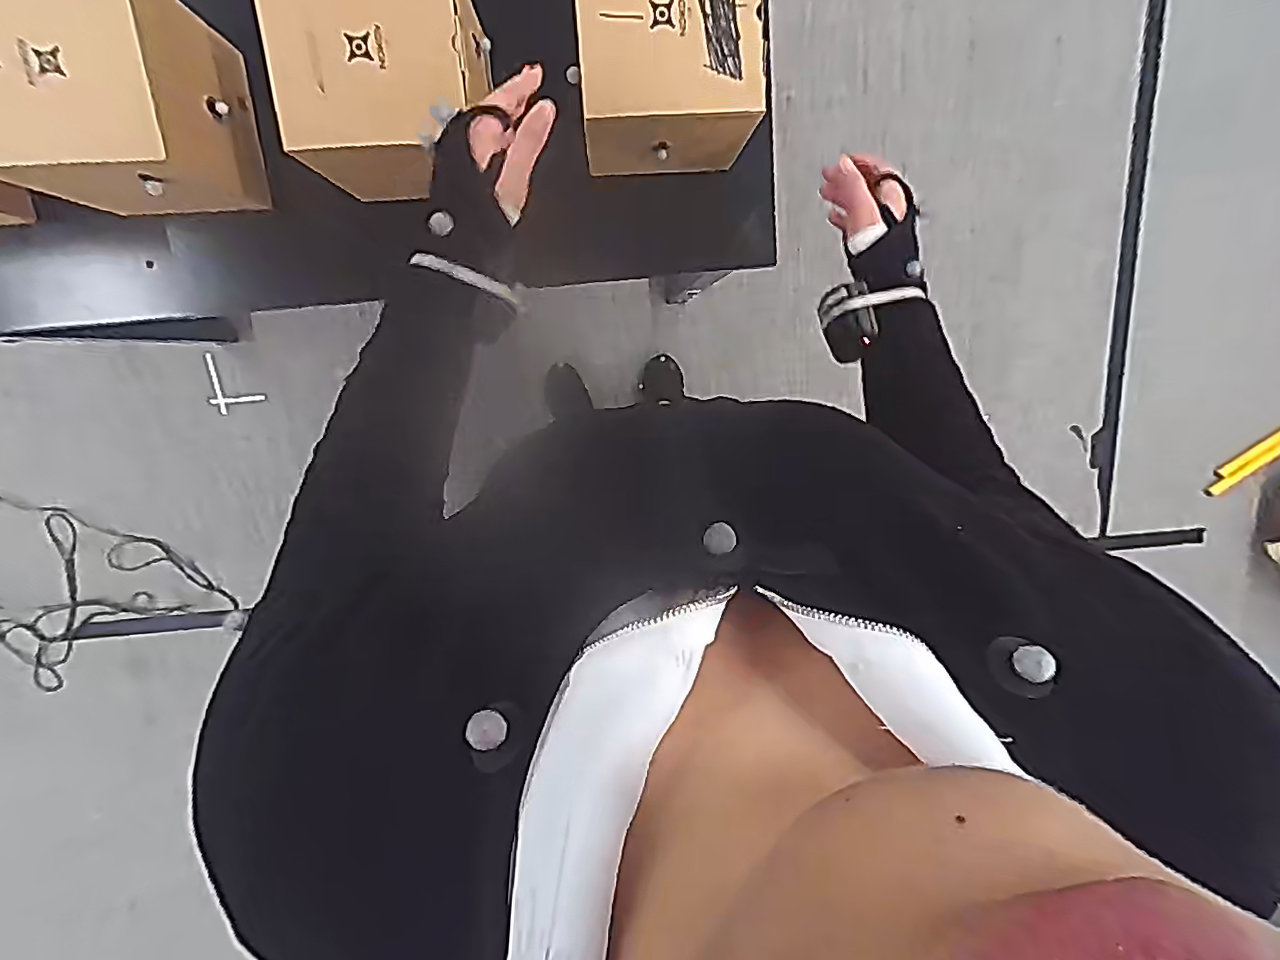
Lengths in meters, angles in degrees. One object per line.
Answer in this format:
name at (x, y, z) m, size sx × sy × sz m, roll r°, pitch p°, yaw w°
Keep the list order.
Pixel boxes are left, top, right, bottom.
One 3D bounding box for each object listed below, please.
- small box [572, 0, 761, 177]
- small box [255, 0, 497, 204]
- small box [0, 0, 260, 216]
small box at (0.021, -0.440, 0.576) m, size 0.179 × 0.176 × 0.168 m, roll -4°, pitch 103°, yaw -1°
small box at (-0.255, -0.404, 0.568) m, size 0.179 × 0.176 × 0.168 m, roll -5°, pitch 102°, yaw -2°
small box at (-0.527, -0.380, 0.552) m, size 0.179 × 0.176 × 0.168 m, roll -4°, pitch 103°, yaw -3°
